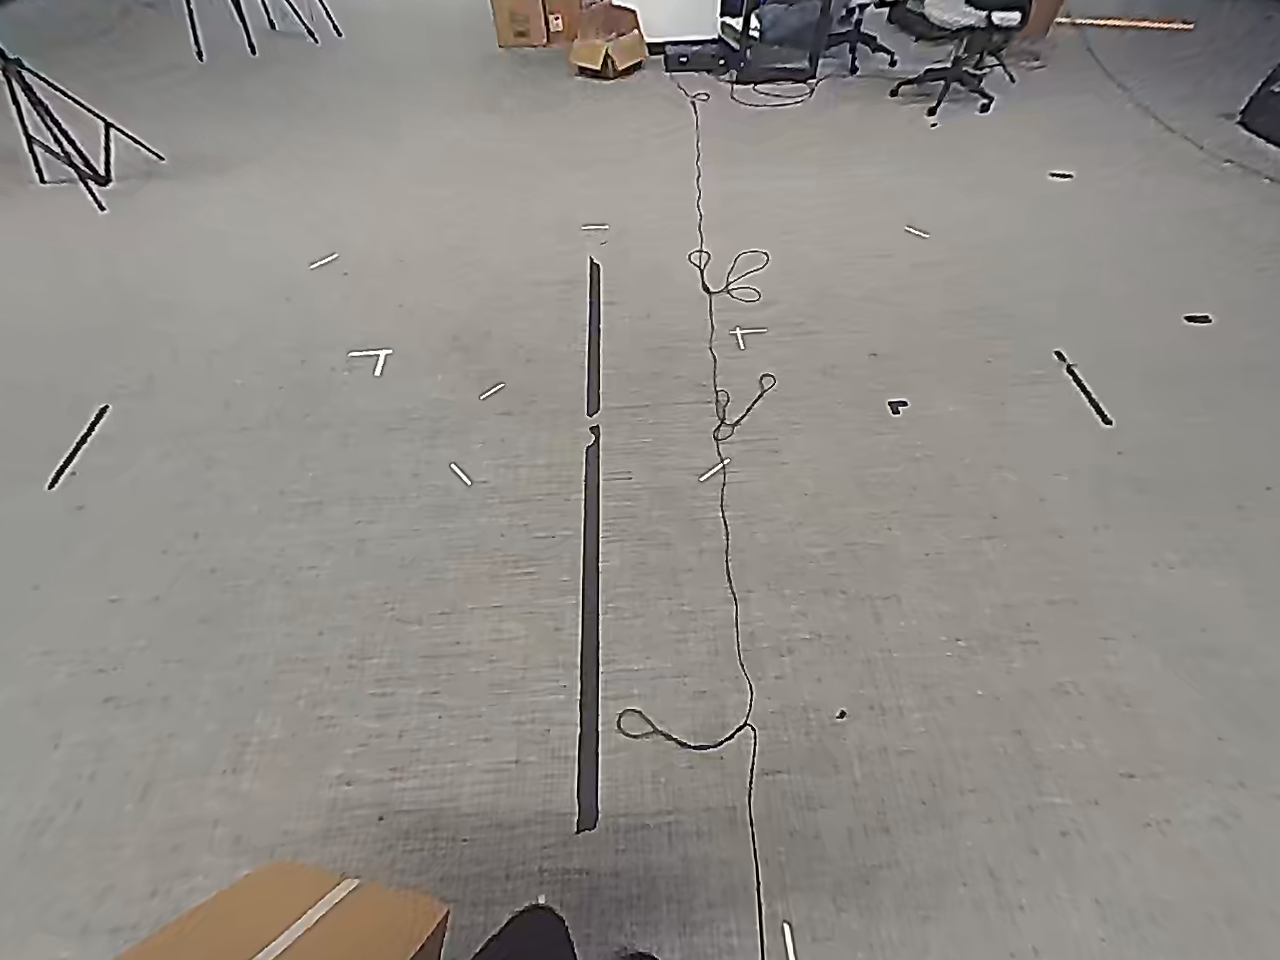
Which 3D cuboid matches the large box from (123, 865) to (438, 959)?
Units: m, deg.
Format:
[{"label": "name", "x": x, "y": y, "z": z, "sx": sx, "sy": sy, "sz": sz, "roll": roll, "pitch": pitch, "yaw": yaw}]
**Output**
[{"label": "large box", "x": -0.494, "y": 0.745, "z": 0.625, "sx": 0.320, "sy": 0.408, "sz": 0.320, "roll": 7, "pitch": 81, "yaw": 7}]
